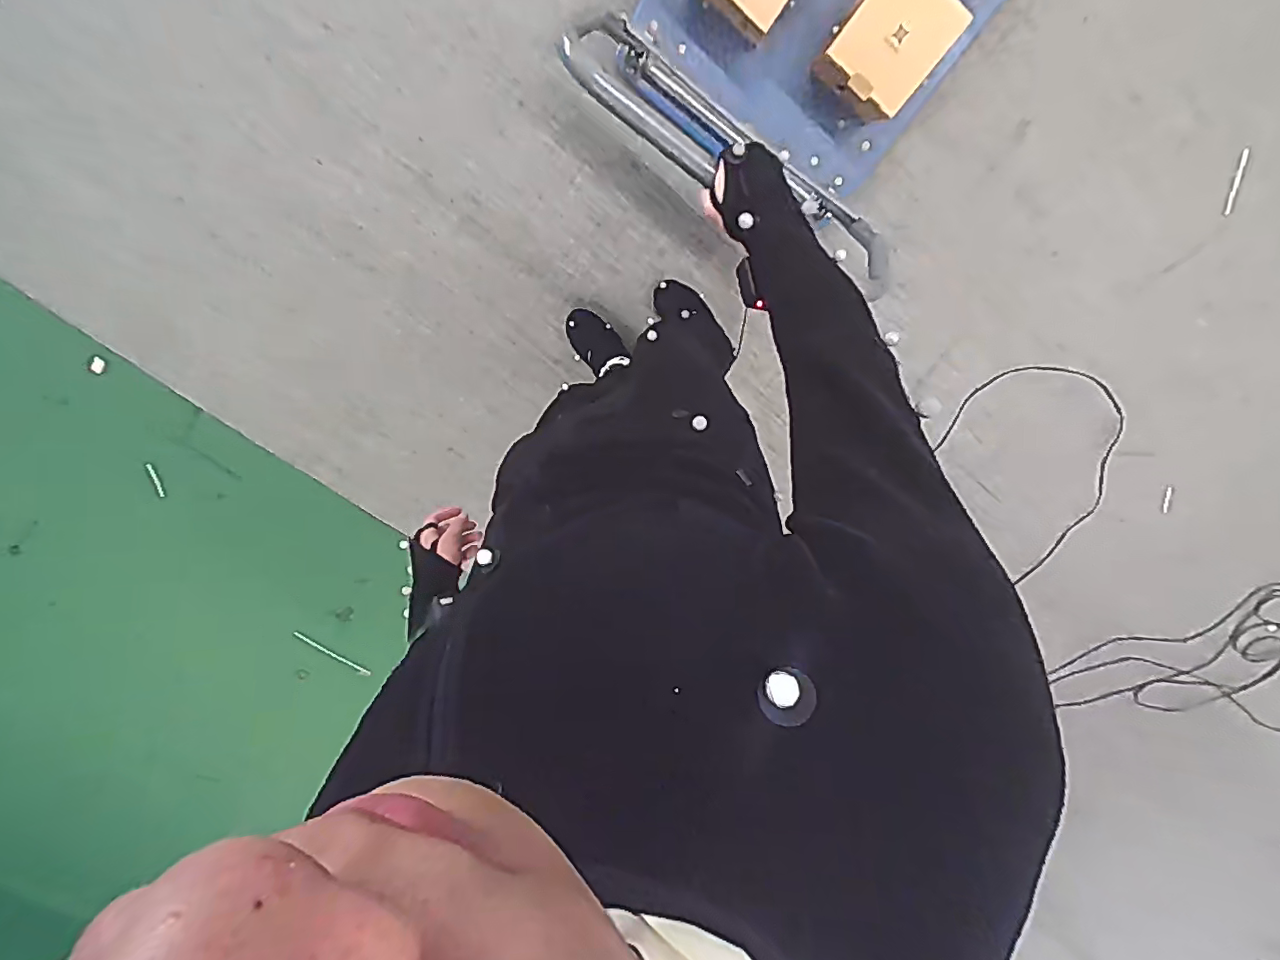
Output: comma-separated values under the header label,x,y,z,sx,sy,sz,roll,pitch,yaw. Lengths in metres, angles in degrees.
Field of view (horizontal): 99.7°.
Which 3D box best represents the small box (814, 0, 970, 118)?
label,x,y,z,sx,sy,sz,roll,pitch,yaw
small box,0.442,-0.798,0.983,0.168,0.176,0.179,34,120,-14
